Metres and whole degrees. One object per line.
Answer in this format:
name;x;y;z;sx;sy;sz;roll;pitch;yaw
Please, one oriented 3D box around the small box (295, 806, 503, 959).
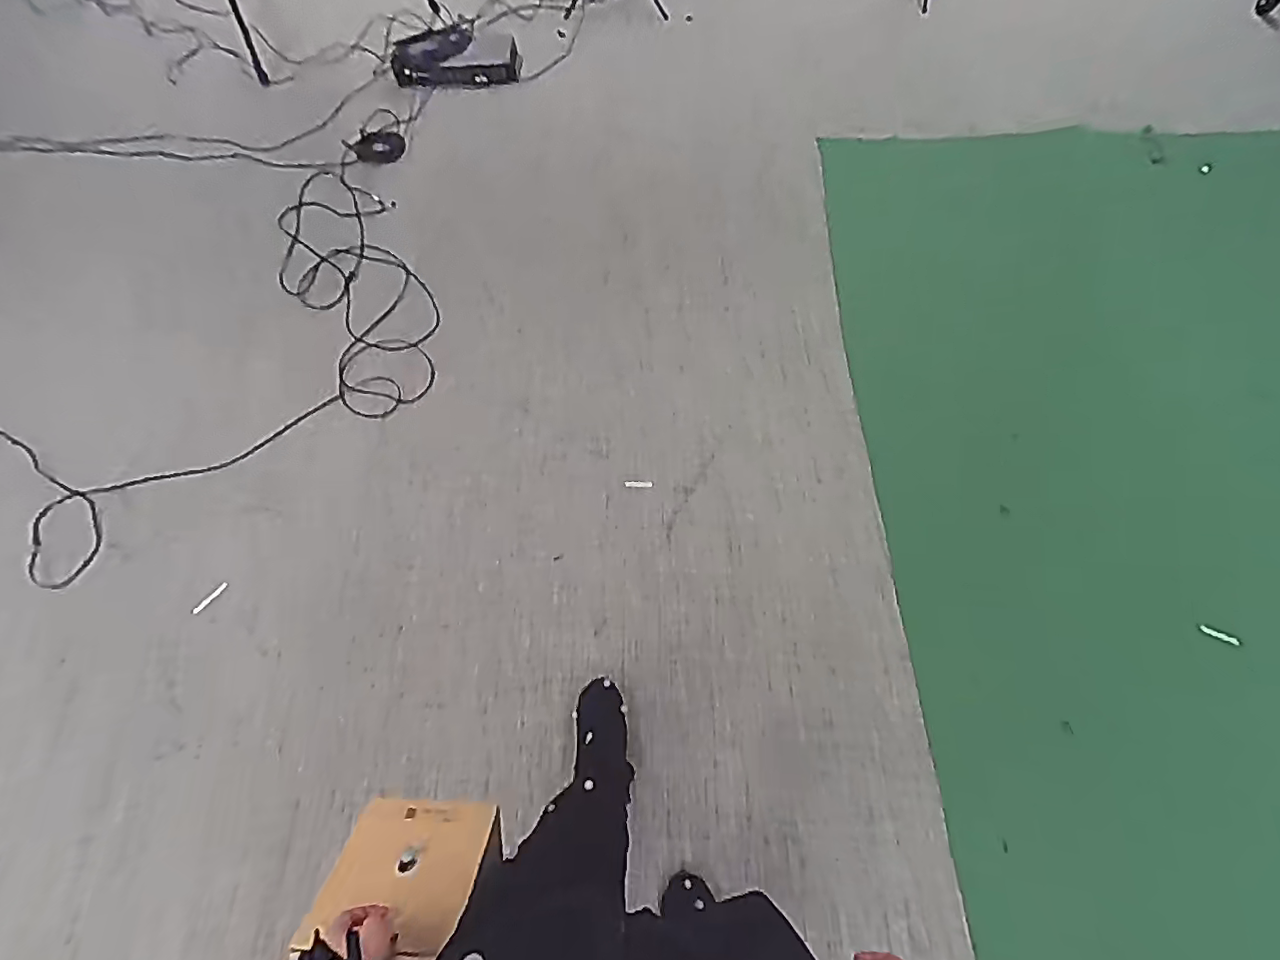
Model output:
small box;-0.265;0.519;0.638;0.168;0.176;0.179;2;109;0
